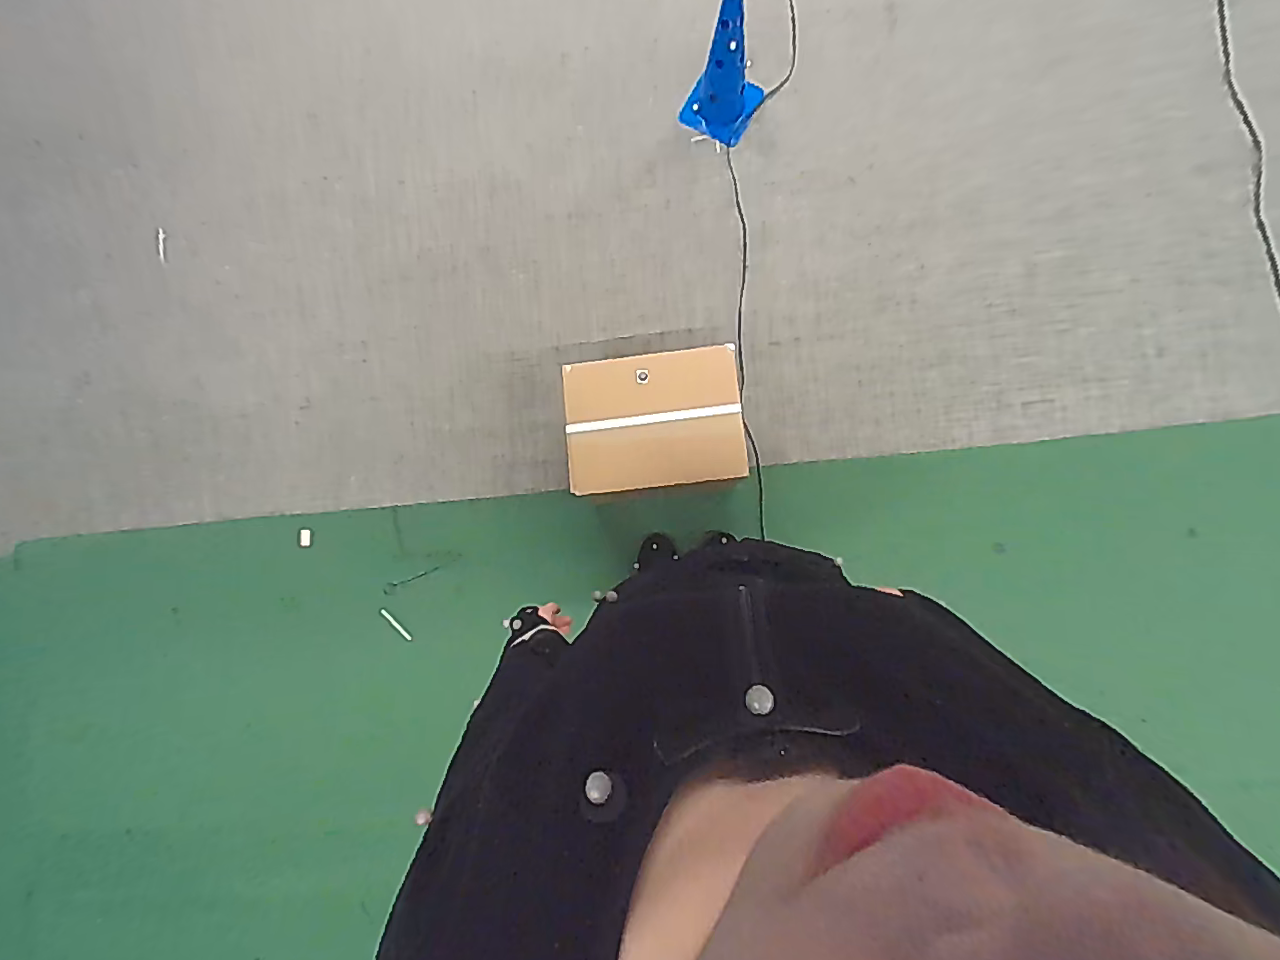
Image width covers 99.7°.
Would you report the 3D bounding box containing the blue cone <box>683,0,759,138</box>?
[{"bbox_3d":[0.226,-1.118,1.419,0.192,0.380,0.193,27,89,6],"label":"blue cone"}]
